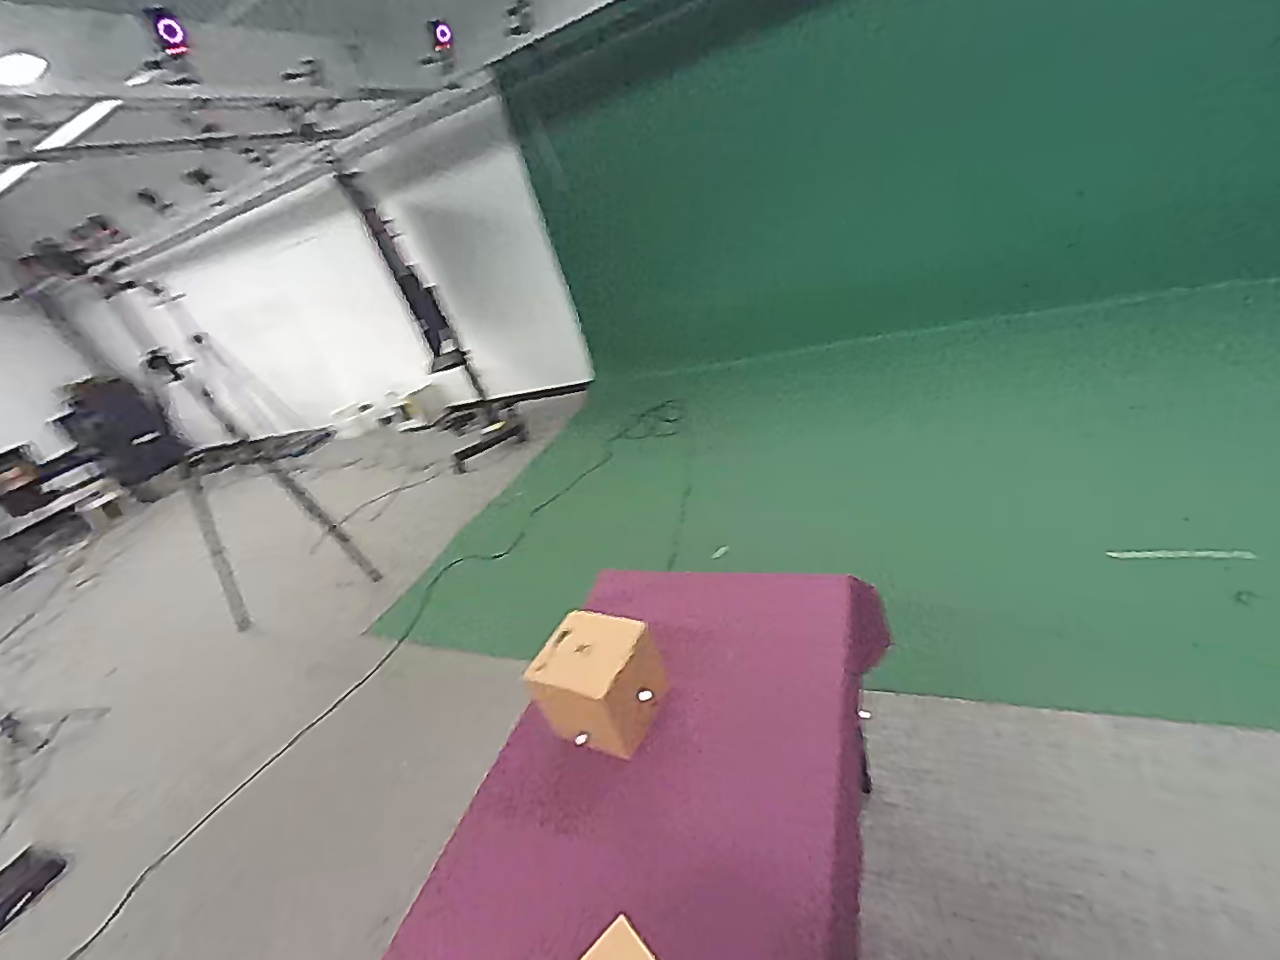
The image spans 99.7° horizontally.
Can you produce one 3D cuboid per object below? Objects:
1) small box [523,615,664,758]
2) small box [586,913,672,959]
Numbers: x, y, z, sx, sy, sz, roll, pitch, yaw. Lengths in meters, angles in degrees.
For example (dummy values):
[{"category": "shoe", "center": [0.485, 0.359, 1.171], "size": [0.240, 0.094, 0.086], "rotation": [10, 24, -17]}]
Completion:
[{"category": "small box", "center": [-0.076, 0.379, 0.997], "size": [0.179, 0.176, 0.168], "rotation": [1, 33, 32]}, {"category": "small box", "center": [0.000, 0.470, 0.372], "size": [0.179, 0.176, 0.168], "rotation": [-35, 35, -25]}]
